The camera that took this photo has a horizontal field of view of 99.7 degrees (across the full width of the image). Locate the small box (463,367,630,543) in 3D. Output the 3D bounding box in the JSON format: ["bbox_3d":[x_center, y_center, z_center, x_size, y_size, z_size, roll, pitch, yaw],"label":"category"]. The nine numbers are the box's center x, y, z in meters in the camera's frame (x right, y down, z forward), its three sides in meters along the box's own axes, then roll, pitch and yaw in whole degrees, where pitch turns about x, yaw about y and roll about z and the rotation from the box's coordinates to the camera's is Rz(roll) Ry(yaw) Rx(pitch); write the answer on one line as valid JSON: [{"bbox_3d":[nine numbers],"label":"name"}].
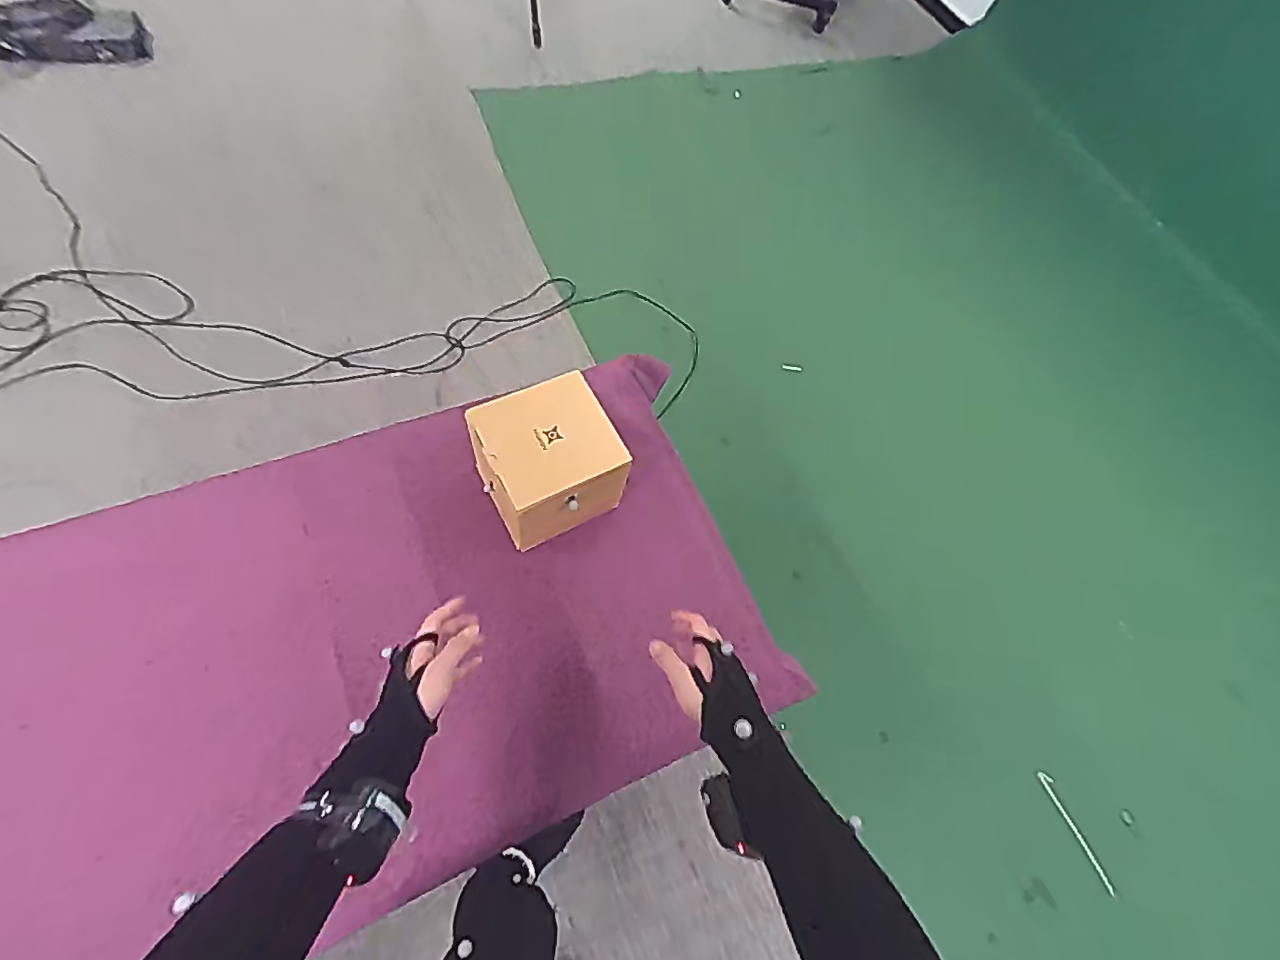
[{"bbox_3d":[-0.138,-0.030,0.797,0.179,0.176,0.168,-26,73,-18],"label":"small box"}]
